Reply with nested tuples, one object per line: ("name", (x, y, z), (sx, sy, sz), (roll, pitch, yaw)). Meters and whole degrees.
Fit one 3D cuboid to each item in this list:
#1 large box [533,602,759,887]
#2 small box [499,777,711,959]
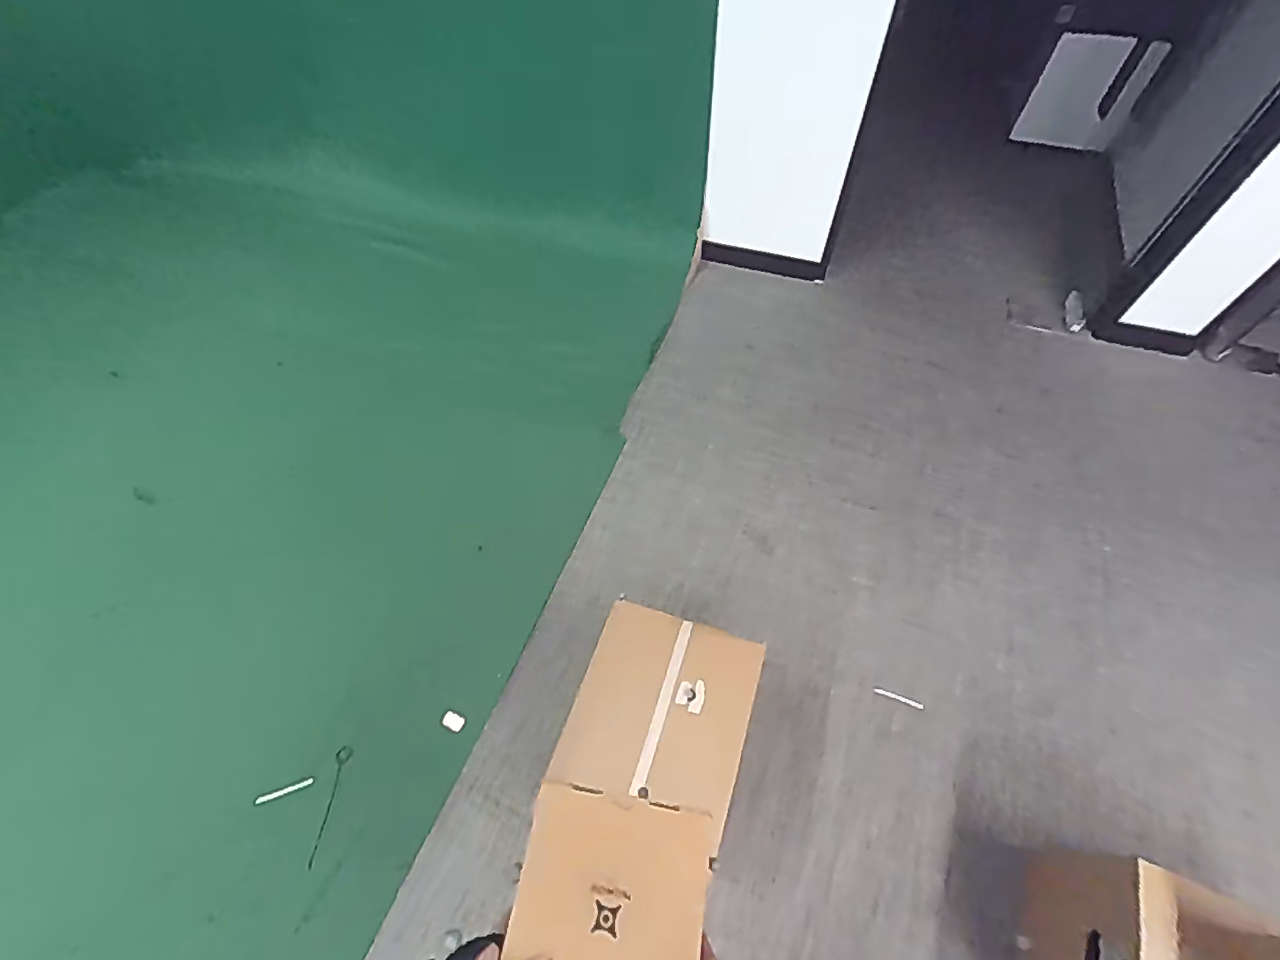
("large box", (0.031, 0.526, 1.094), (0.320, 0.320, 0.408), (16, 58, 12))
("small box", (-0.027, 0.417, 0.541), (0.168, 0.176, 0.179), (9, 58, 7))
